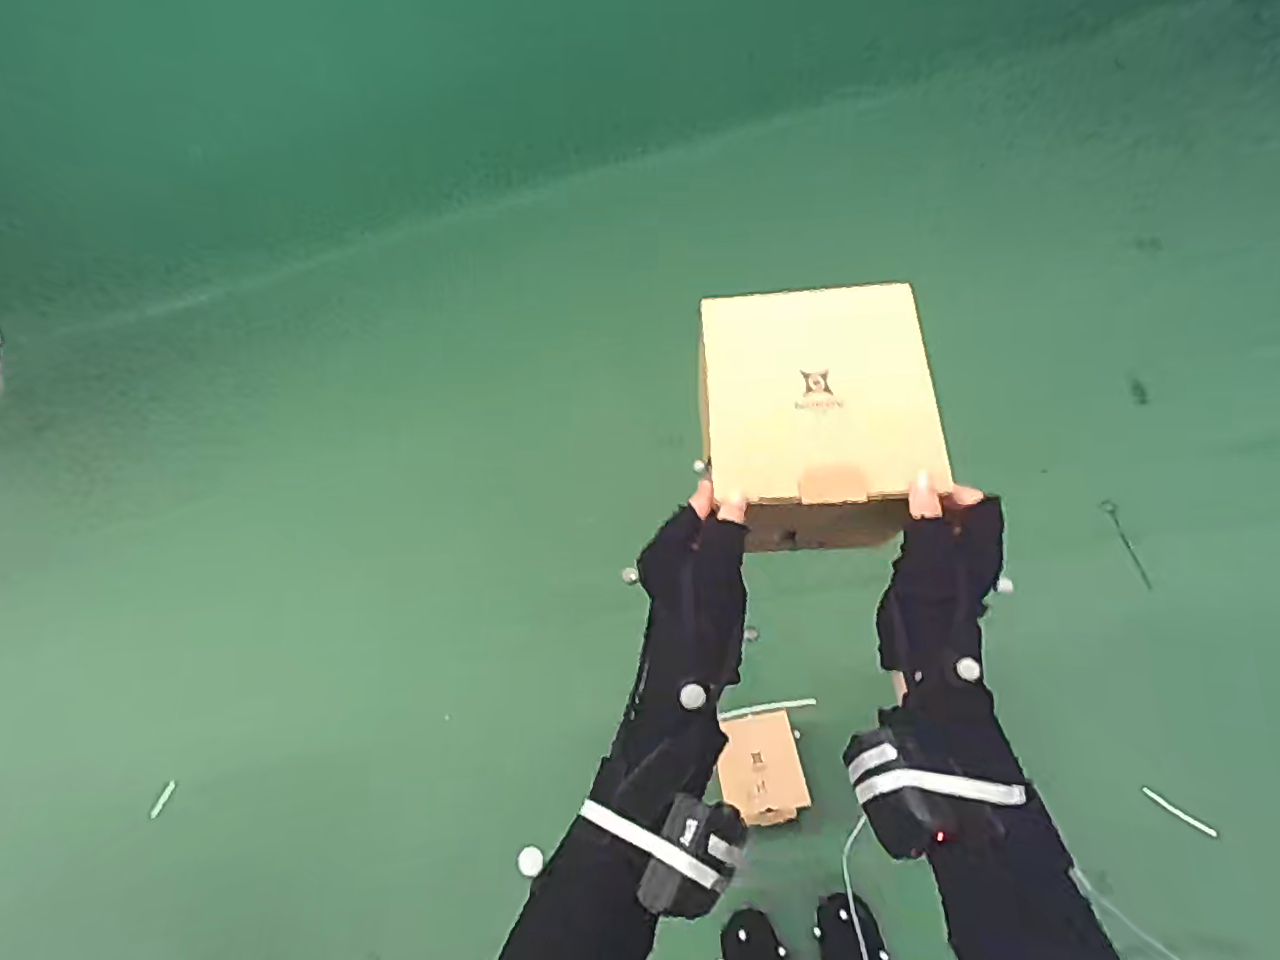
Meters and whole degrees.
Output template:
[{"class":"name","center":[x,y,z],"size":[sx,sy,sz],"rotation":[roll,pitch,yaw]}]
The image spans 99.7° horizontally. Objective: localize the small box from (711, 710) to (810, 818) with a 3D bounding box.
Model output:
[{"class":"small box","center":[0.254,0.611,1.156],"size":[0.168,0.176,0.179],"rotation":[-14,56,6]}]
